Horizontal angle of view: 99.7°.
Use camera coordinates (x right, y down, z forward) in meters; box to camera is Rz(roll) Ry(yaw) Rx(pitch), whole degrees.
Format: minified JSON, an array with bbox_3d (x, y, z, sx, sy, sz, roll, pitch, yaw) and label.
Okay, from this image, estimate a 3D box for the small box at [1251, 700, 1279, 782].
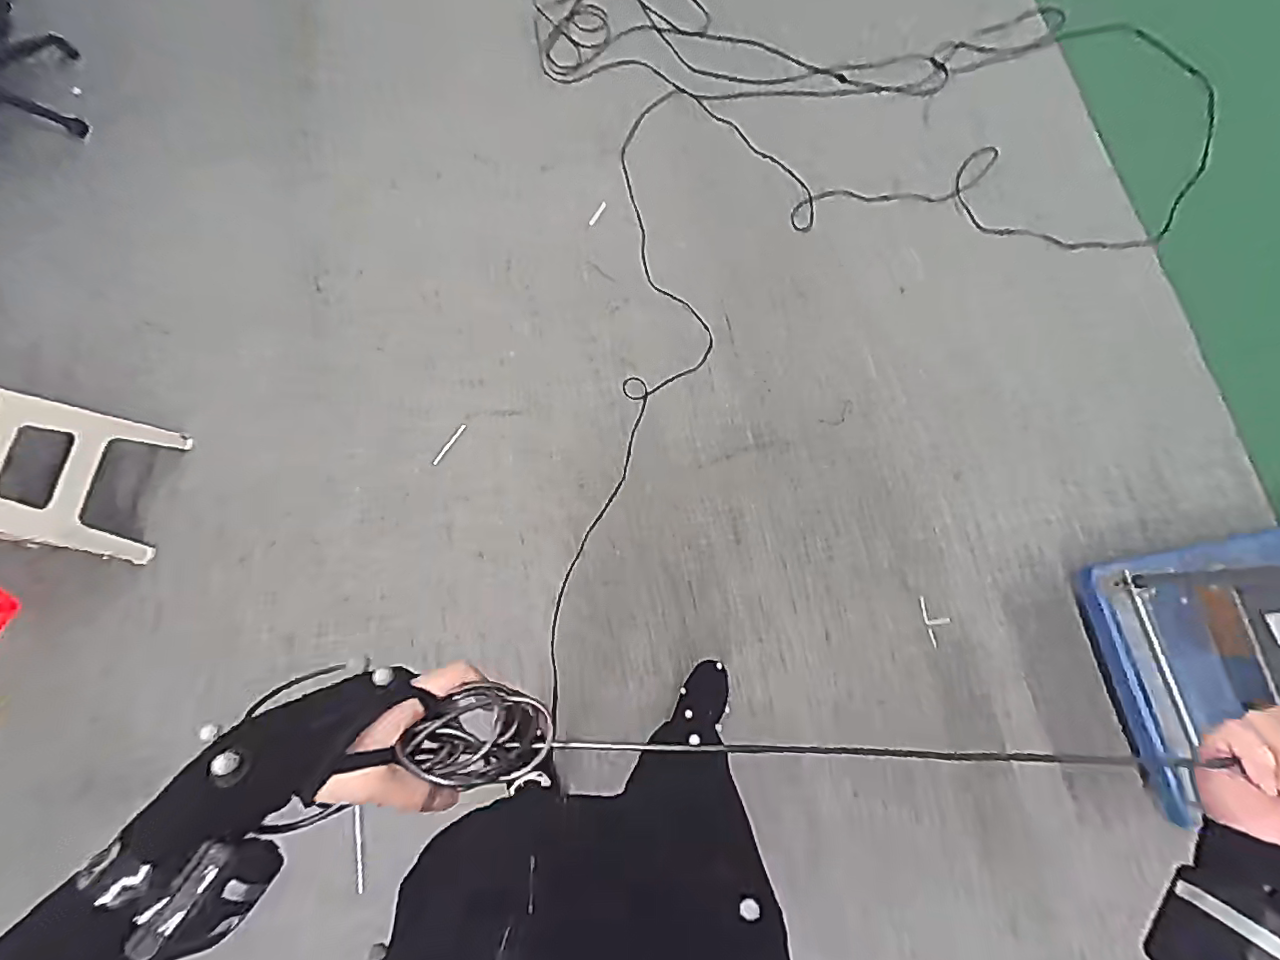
[{"bbox_3d":[1.424,0.538,1.086,0.179,0.176,0.168,-9,76,1],"label":"small box"}]
